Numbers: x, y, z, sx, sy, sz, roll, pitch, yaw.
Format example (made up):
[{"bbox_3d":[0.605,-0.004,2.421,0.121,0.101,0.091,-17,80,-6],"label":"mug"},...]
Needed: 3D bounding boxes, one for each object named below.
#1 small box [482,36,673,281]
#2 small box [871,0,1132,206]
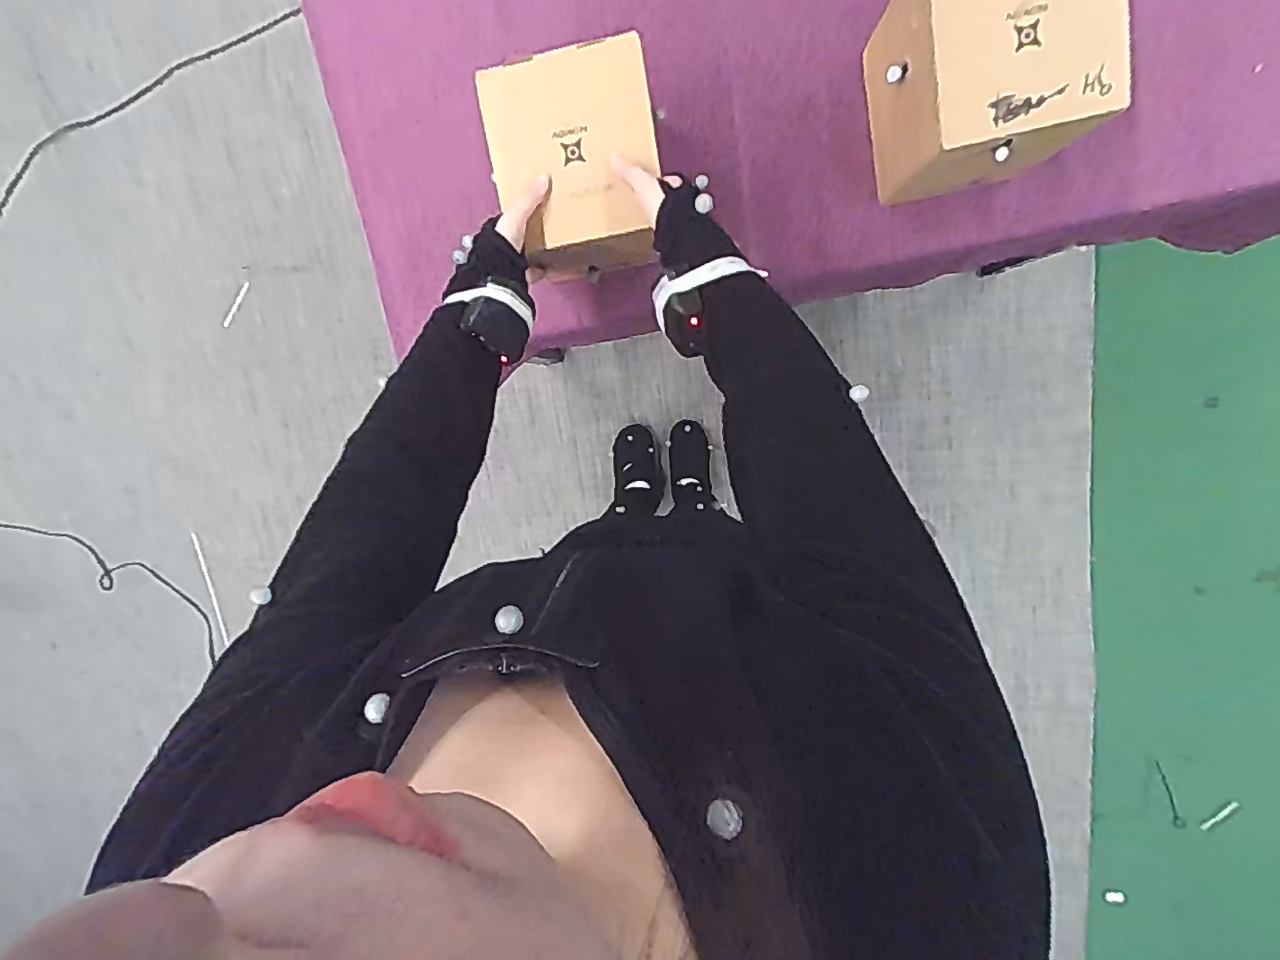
[{"bbox_3d":[-0.056,-0.341,0.611,0.168,0.176,0.179,-8,101,7],"label":"small box"},{"bbox_3d":[0.354,-0.416,0.561,0.168,0.176,0.179,-9,99,7],"label":"small box"}]
